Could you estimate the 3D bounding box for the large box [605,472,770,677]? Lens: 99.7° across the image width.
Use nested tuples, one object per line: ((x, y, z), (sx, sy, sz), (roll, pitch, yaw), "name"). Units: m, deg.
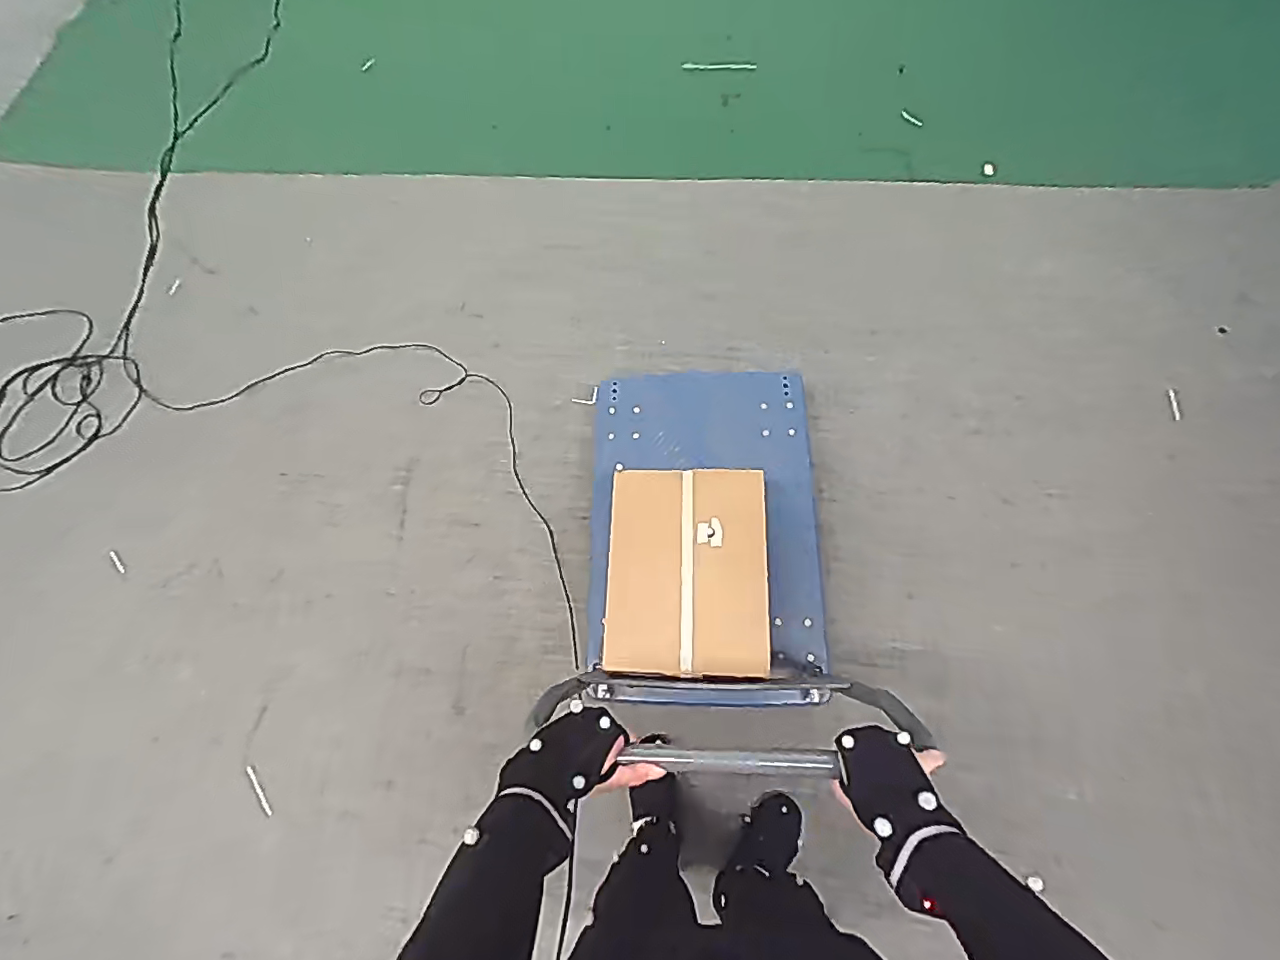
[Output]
((0.106, 0.224, 1.211), (0.320, 0.320, 0.408), (0, 69, 5), "large box")
